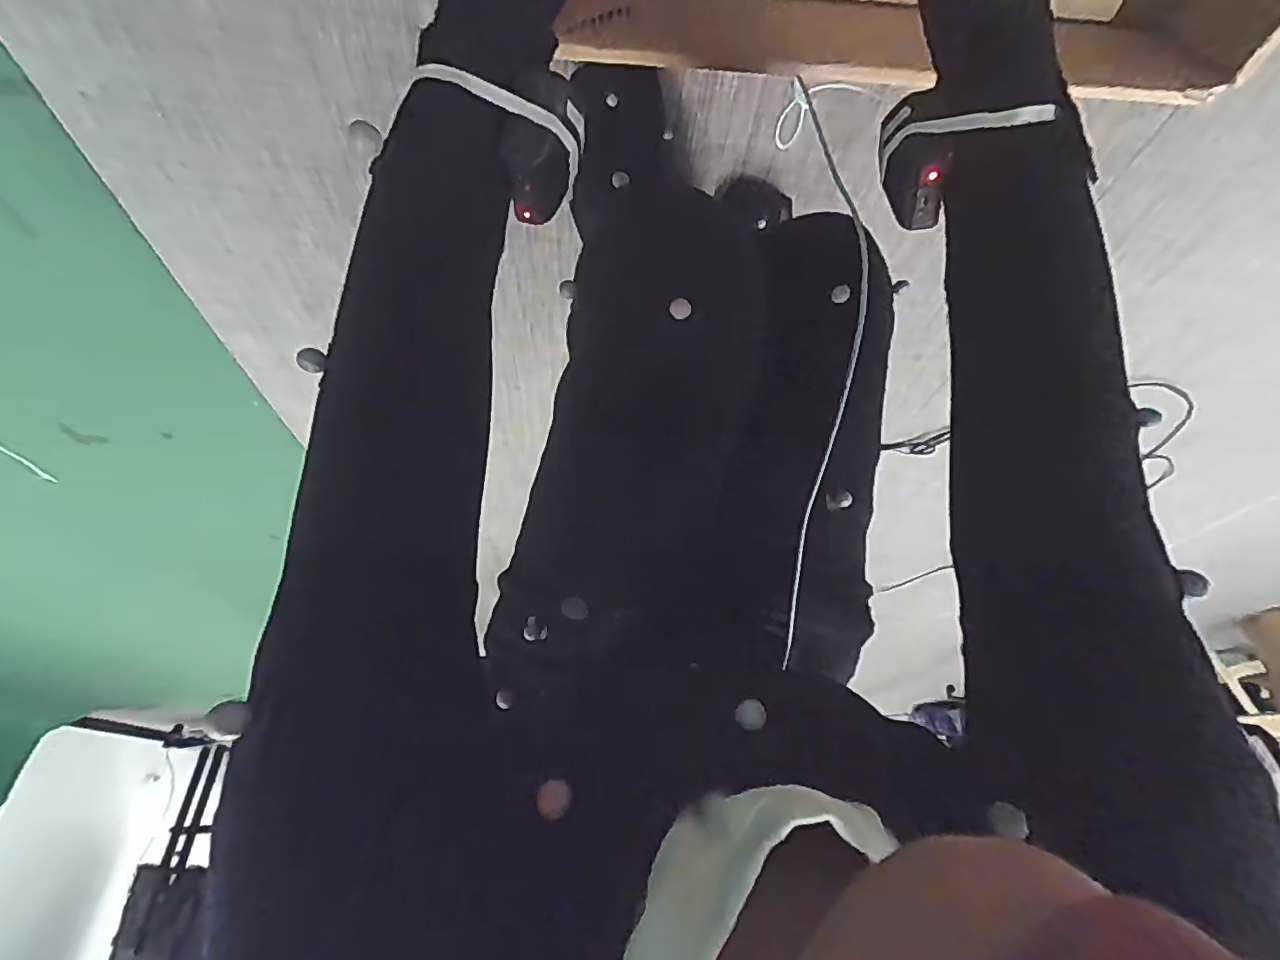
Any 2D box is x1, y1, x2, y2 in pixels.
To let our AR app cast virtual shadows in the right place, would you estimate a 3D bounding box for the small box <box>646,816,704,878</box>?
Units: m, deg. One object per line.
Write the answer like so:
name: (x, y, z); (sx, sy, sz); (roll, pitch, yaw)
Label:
small box: (0.118, 1.276, 1.883); (0.168, 0.176, 0.179); (5, 148, -9)
